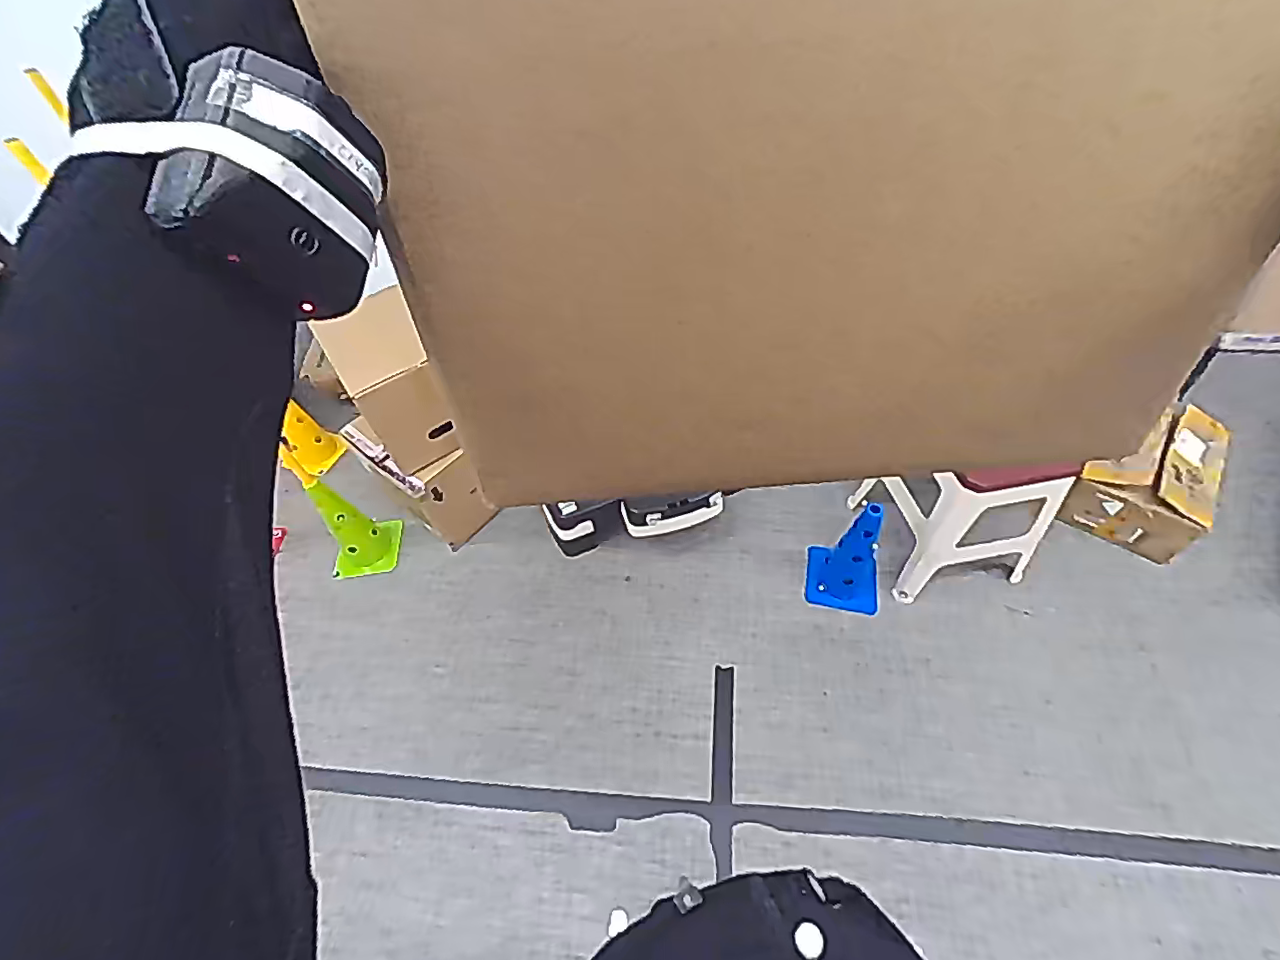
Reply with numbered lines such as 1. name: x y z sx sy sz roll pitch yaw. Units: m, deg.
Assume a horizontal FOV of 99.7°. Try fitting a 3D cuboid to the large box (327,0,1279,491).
1. large box: 0.082 -0.216 0.355 0.408 0.320 0.320 -4 41 0
